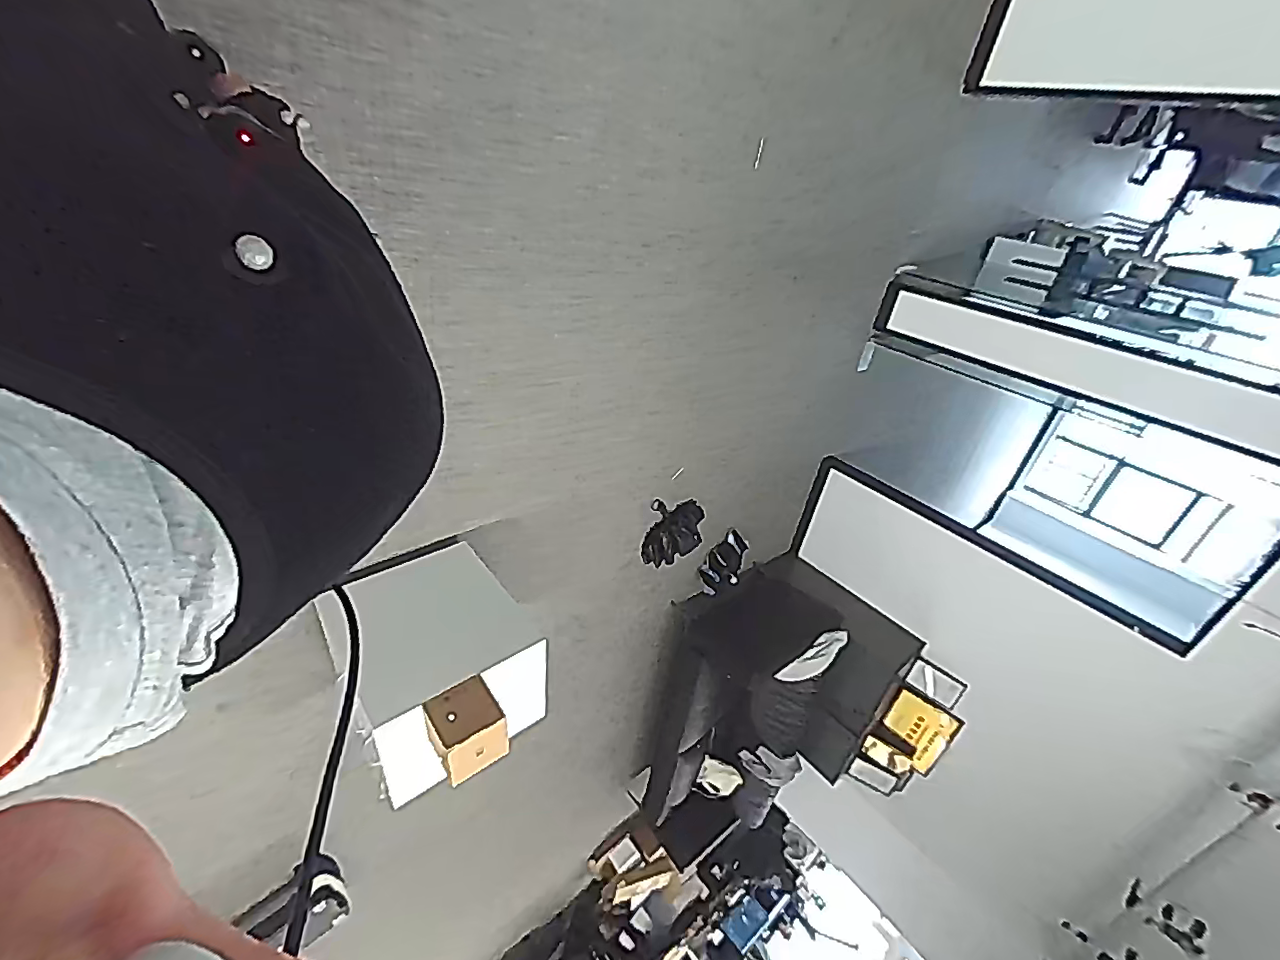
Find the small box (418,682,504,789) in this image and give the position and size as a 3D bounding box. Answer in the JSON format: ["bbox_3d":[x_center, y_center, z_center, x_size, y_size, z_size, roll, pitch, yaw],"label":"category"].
[{"bbox_3d":[-0.482,0.678,1.459,0.168,0.176,0.179,-21,134,-34],"label":"small box"}]
